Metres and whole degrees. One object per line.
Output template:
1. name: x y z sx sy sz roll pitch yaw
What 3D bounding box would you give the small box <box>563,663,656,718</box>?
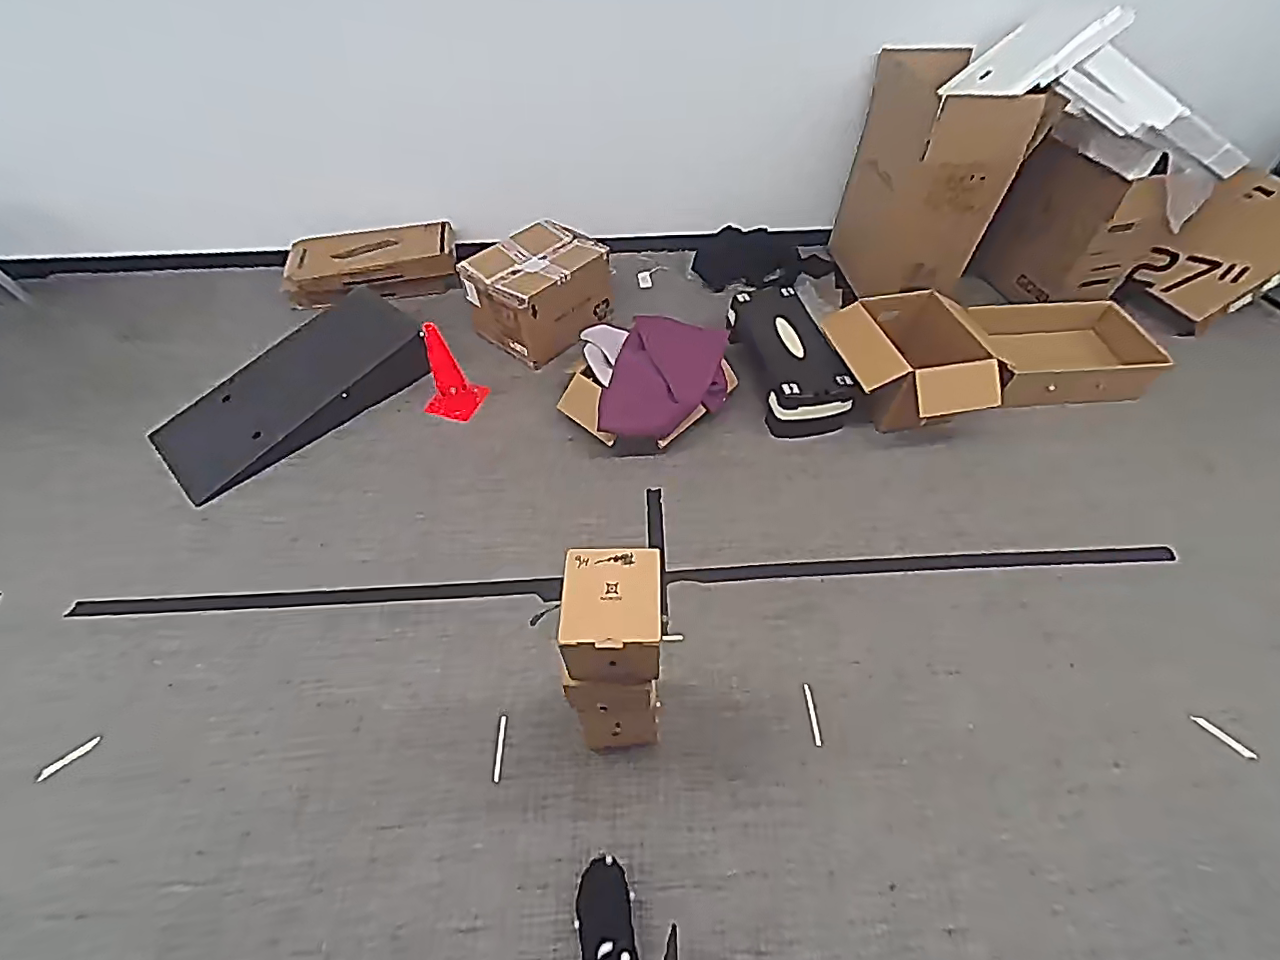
1. small box: -0.051 0.356 1.075 0.168 0.176 0.179 2 53 4

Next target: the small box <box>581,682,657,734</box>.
1. small box: -0.048 0.452 1.206 0.168 0.176 0.179 -2 52 0

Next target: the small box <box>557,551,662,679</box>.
1. small box: -0.044 0.242 0.956 0.168 0.176 0.179 0 52 2

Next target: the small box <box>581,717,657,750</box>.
1. small box: -0.051 0.555 1.334 0.179 0.176 0.168 -5 52 -3
